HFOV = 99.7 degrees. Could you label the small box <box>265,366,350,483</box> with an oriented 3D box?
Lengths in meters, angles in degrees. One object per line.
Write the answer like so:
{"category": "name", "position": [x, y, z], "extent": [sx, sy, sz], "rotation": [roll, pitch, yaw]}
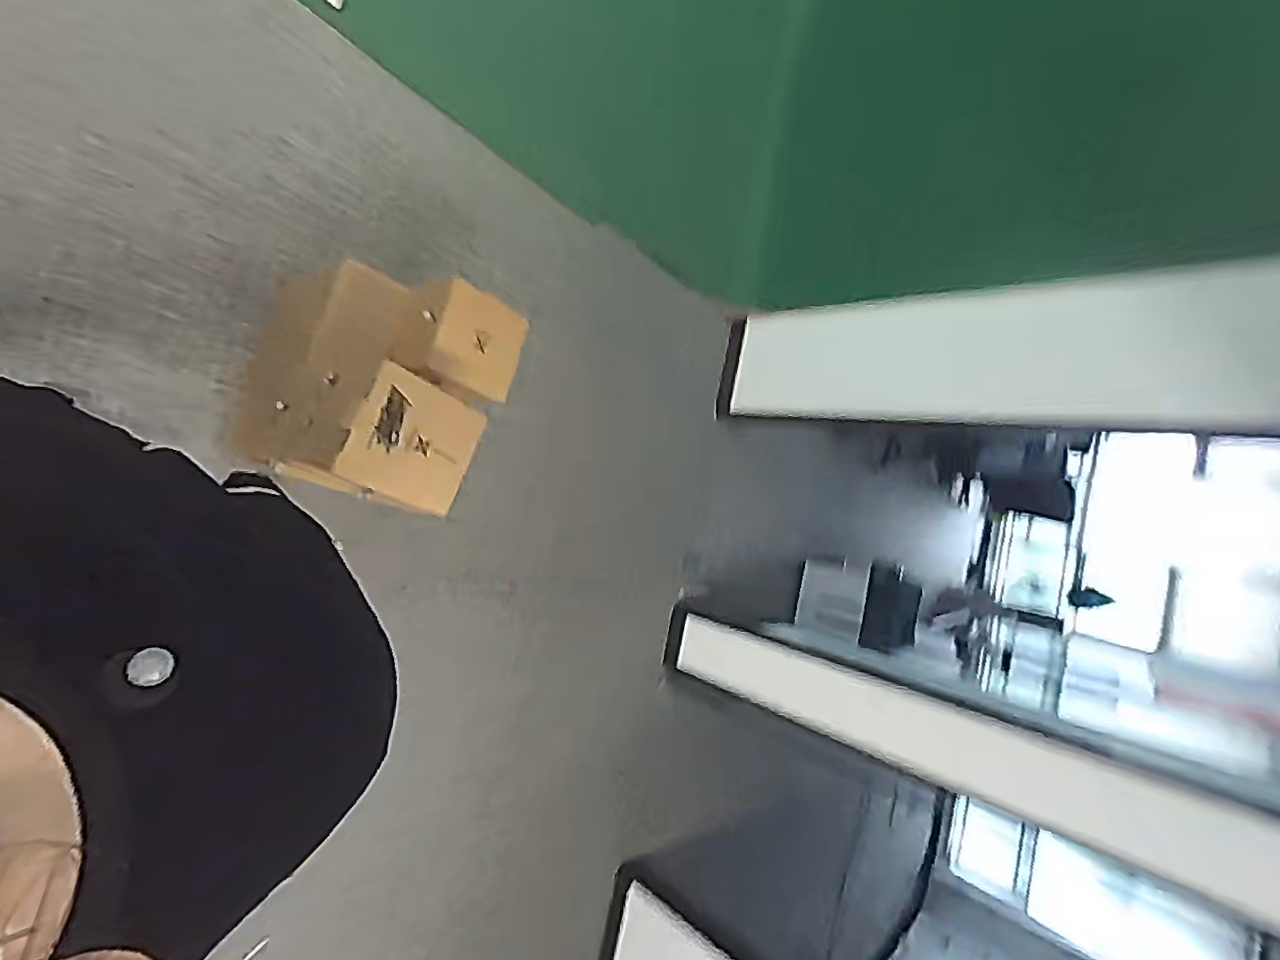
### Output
{"category": "small box", "position": [-0.490, -0.083, 0.916], "extent": [0.179, 0.176, 0.168], "rotation": [28, 76, -47]}

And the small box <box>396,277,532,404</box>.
{"category": "small box", "position": [-0.343, -0.259, 1.041], "extent": [0.168, 0.176, 0.179], "rotation": [24, 79, -47]}

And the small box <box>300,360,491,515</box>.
{"category": "small box", "position": [-0.366, -0.062, 0.808], "extent": [0.179, 0.176, 0.168], "rotation": [33, 73, -47]}
